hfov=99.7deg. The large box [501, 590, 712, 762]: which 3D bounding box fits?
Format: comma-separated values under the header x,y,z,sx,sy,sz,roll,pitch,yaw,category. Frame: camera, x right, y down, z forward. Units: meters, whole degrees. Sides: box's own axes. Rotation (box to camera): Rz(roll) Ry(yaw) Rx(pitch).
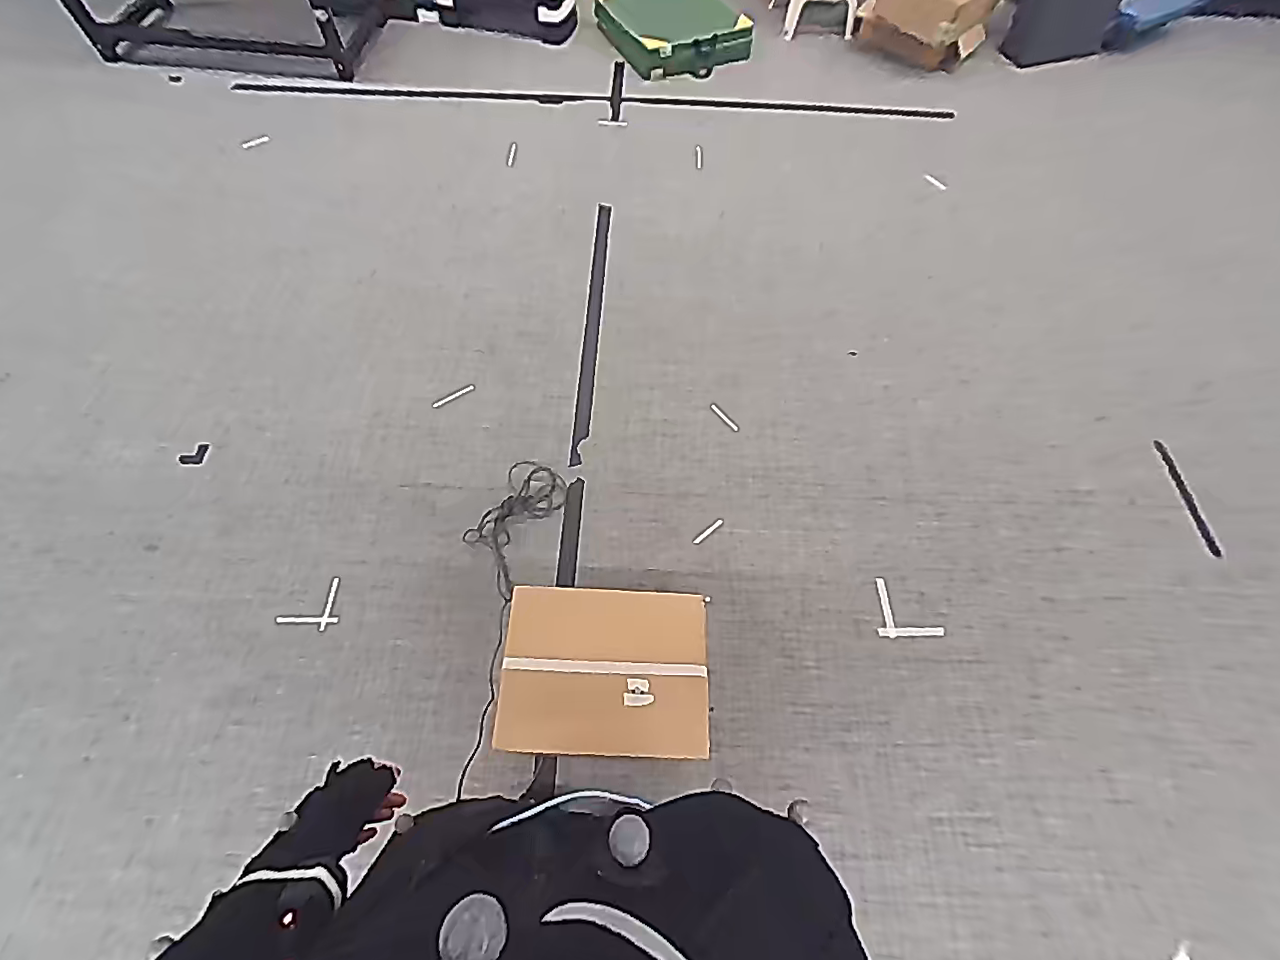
x,y,z,sx,sy,sz,roll,pitch,yaw,category
-0.068,0.449,1.204,0.408,0.320,0.320,4,63,-2,large box
